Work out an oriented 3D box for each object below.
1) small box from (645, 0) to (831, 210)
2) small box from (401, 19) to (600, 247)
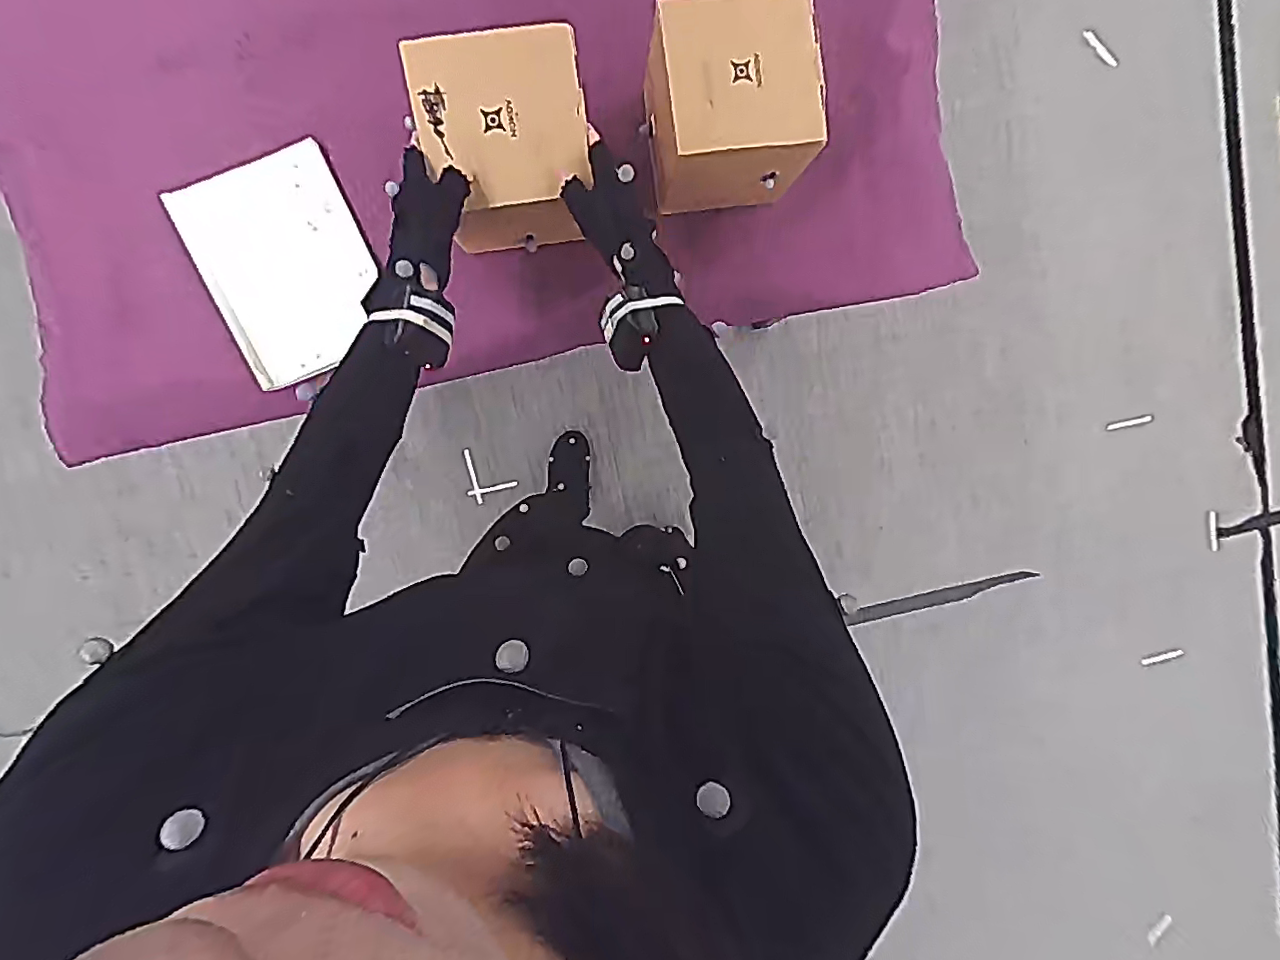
[{"bbox_3d":[0.109,-0.456,0.665,0.179,0.176,0.168,-9,95,-4],"label":"small box"},{"bbox_3d":[-0.147,-0.381,0.623,0.179,0.176,0.168,-9,100,-5],"label":"small box"}]
